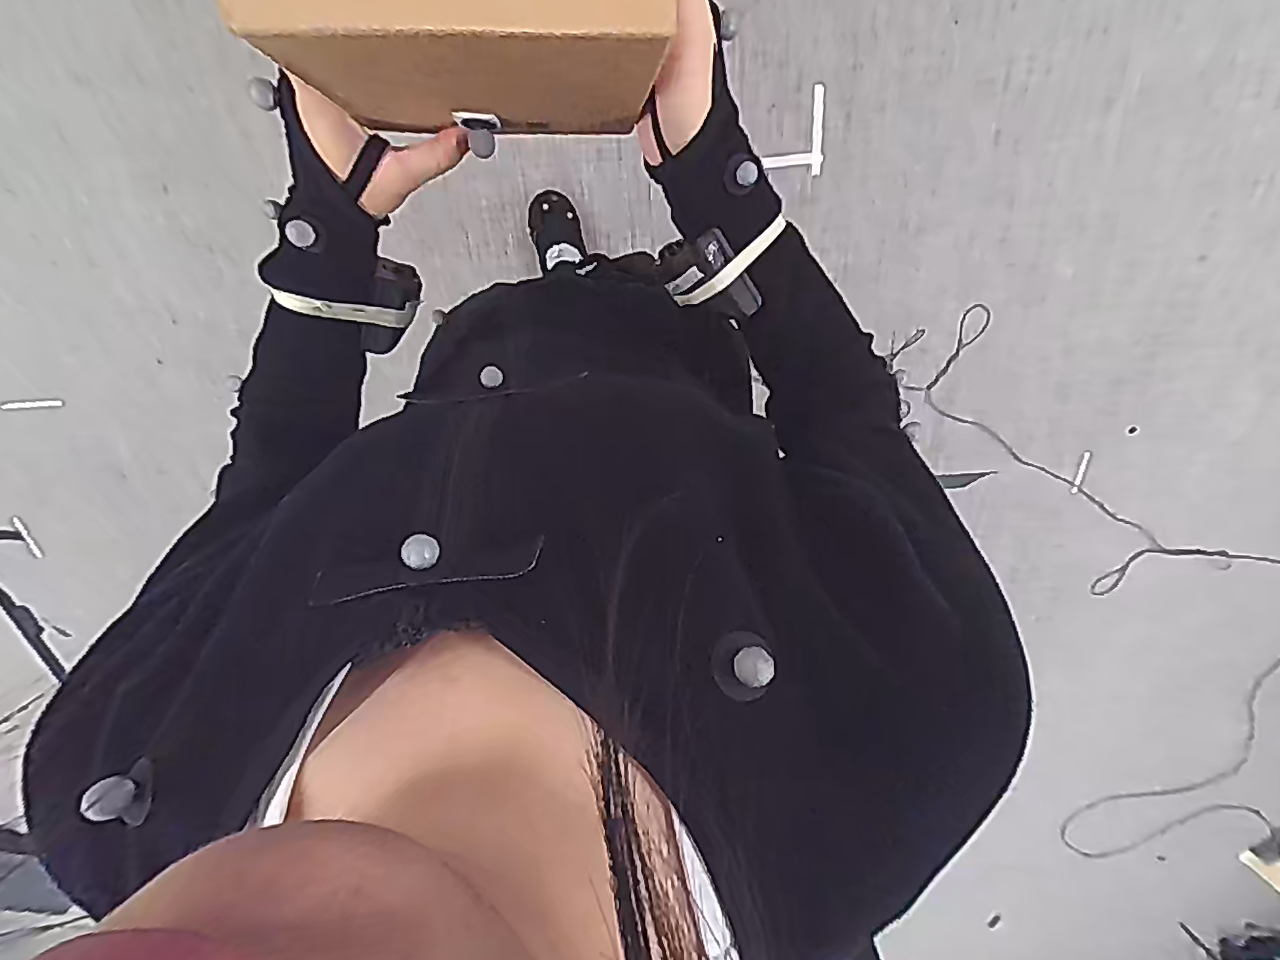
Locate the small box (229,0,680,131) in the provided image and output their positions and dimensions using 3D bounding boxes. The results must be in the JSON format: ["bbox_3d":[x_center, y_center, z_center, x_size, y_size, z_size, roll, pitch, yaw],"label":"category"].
[{"bbox_3d":[-0.076,-0.277,0.240,0.168,0.176,0.179,-4,112,-5],"label":"small box"}]
